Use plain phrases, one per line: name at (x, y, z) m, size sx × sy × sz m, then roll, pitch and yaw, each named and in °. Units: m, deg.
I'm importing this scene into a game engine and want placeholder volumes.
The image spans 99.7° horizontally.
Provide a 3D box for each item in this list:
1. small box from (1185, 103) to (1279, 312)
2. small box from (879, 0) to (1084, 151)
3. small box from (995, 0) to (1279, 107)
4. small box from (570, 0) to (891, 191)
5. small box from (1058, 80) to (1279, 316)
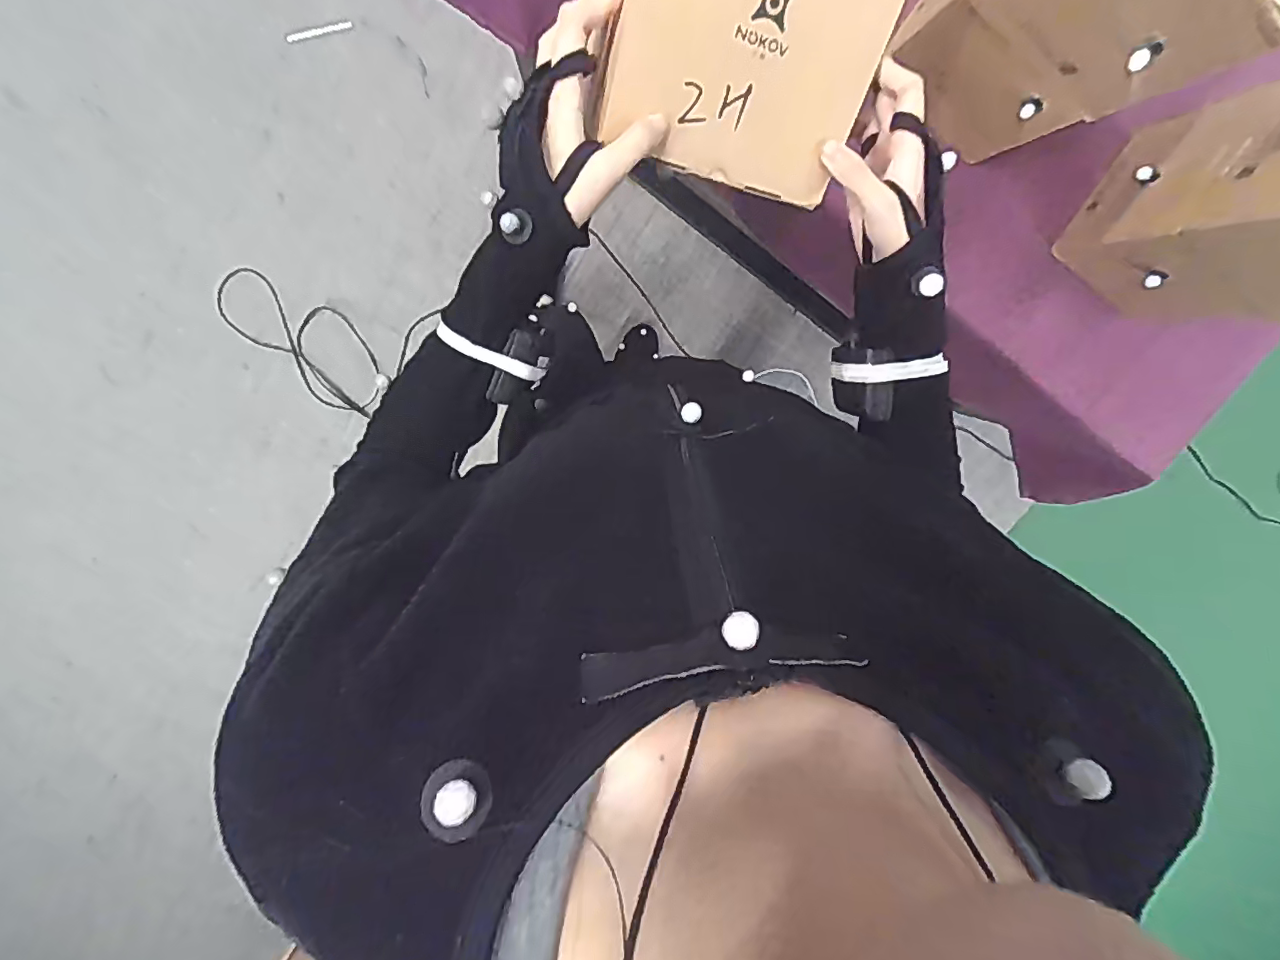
small box at (0.668, -0.256, 0.476) m, size 0.179 × 0.176 × 0.168 m, roll 31°, pitch 101°, yaw -12°
small box at (0.391, -0.483, 0.559) m, size 0.179 × 0.176 × 0.168 m, roll 33°, pitch 101°, yaw -14°
small box at (0.412, -0.432, 0.405) m, size 0.168 × 0.176 × 0.179 m, roll 31°, pitch 100°, yaw -15°
small box at (0.053, -0.331, 0.376) m, size 0.168 × 0.176 × 0.179 m, roll 6°, pitch 125°, yaw -20°
small box at (0.656, -0.306, 0.633) m, size 0.179 × 0.176 × 0.168 m, roll 30°, pitch 102°, yaw -12°
